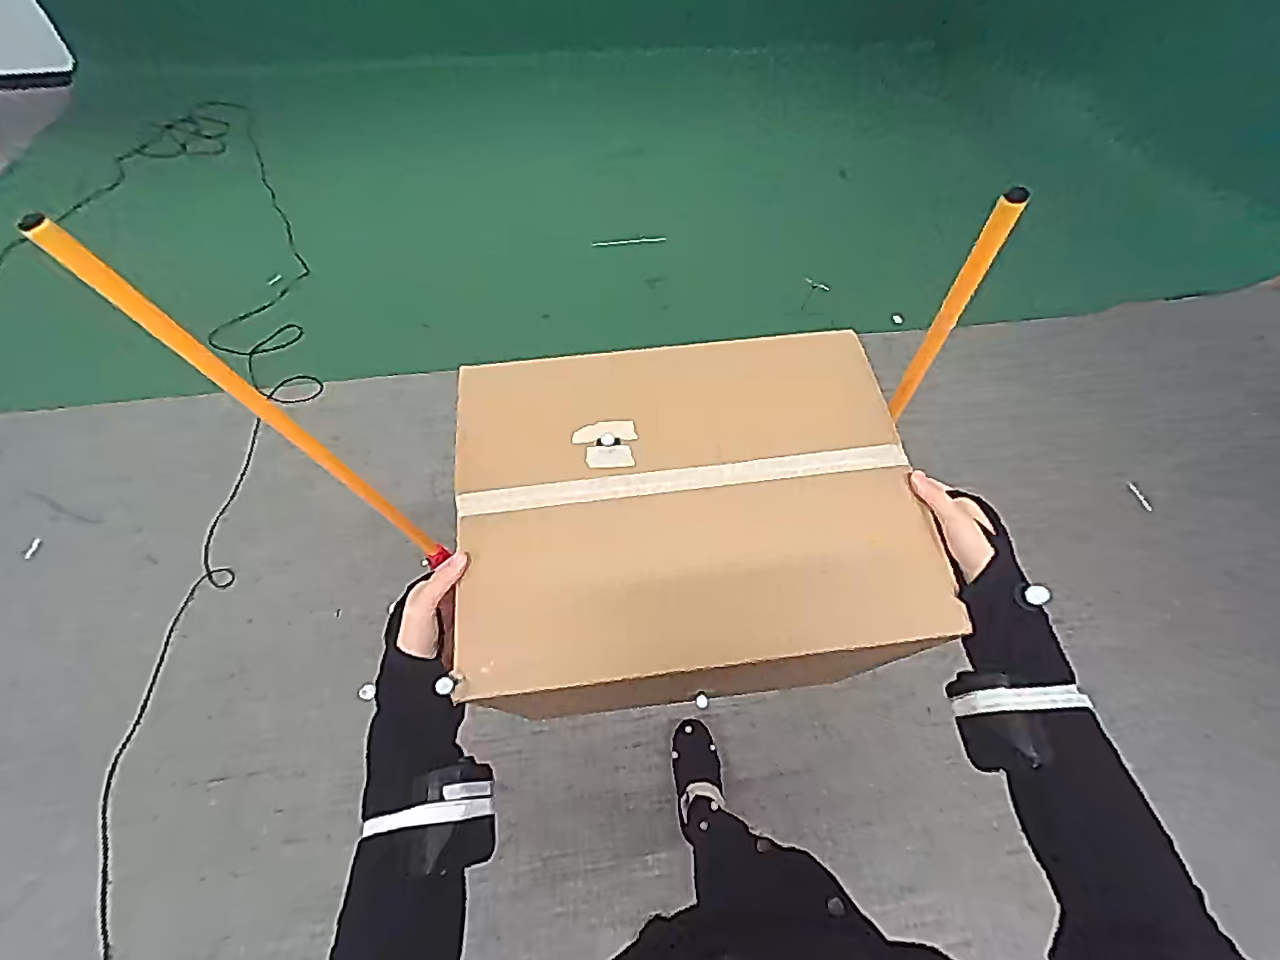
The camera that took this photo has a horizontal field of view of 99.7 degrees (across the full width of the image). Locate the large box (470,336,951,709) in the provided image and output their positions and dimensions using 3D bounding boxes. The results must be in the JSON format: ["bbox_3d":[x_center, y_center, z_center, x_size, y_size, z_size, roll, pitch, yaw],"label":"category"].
[{"bbox_3d":[0.047,0.071,0.633,0.408,0.320,0.320,-7,63,-2],"label":"large box"}]
